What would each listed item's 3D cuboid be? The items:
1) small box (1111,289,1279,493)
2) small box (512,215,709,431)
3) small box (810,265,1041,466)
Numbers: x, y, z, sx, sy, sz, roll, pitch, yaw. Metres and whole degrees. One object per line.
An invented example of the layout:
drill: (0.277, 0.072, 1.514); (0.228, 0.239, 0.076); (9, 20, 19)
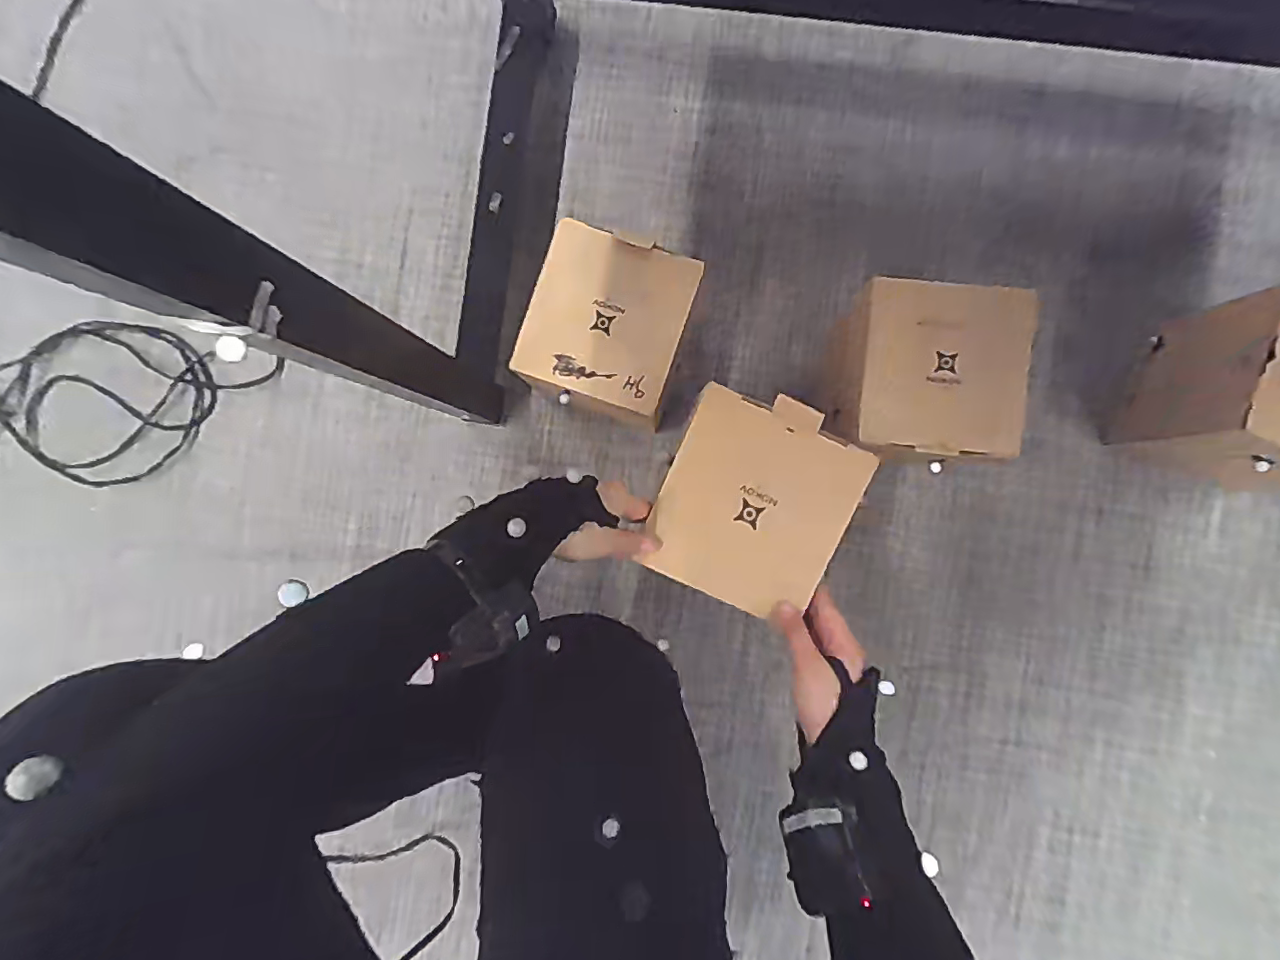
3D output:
small box: (0.700, -0.087, 0.609); (0.179, 0.176, 0.168); (22, 91, 2)
small box: (-0.028, -0.172, 0.647); (0.168, 0.176, 0.179); (19, 89, 4)
small box: (0.311, -0.116, 0.625); (0.168, 0.176, 0.179); (10, 87, -2)
